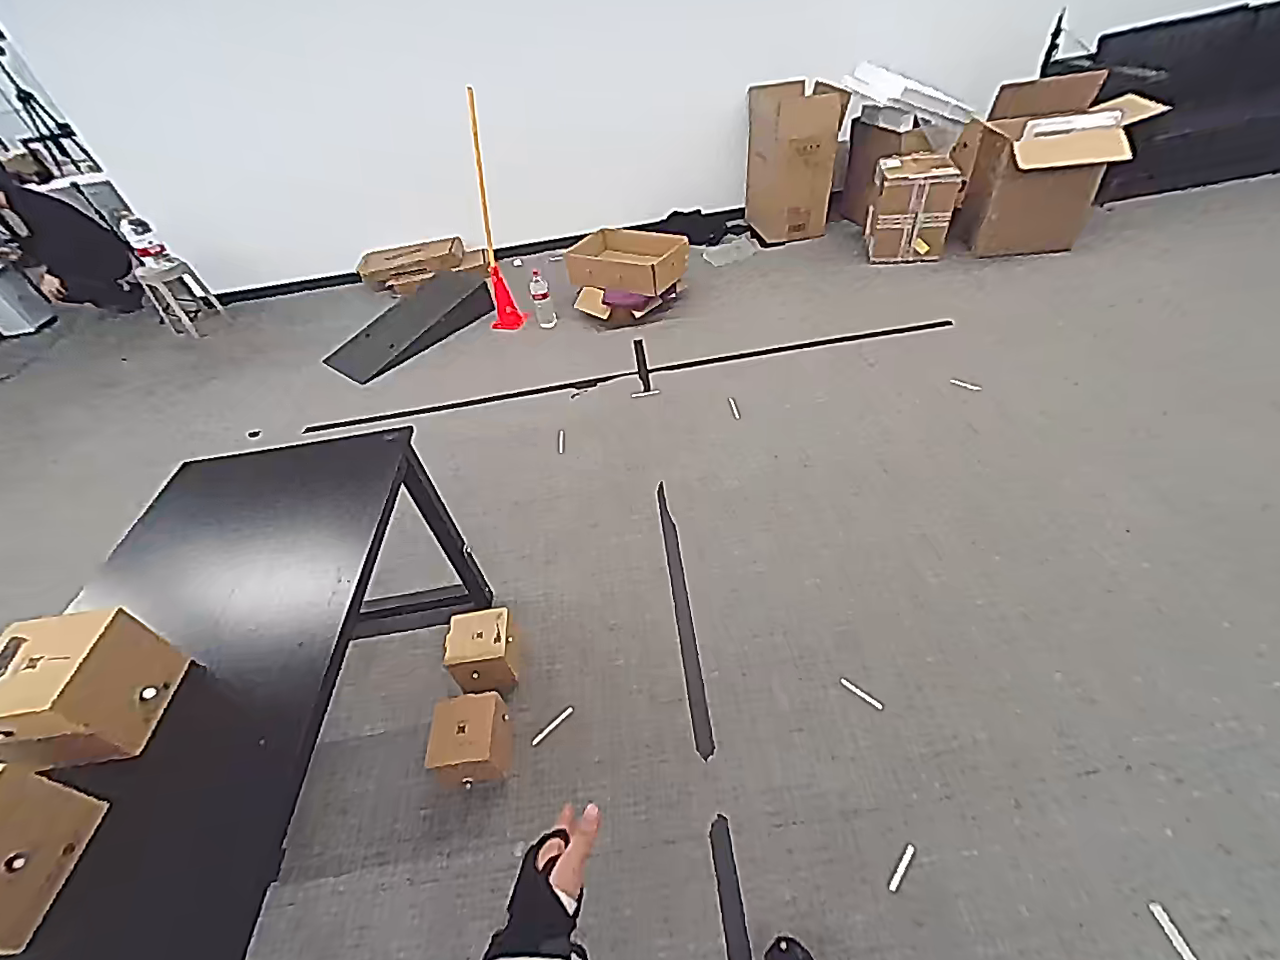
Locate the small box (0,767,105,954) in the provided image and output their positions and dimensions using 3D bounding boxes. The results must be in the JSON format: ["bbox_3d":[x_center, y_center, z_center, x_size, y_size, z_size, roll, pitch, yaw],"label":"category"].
[{"bbox_3d":[-0.855,0.480,0.675,0.179,0.176,0.168,-7,42,3],"label":"small box"}]

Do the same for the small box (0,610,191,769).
[{"bbox_3d":[-0.871,0.328,0.840,0.179,0.176,0.168,-9,43,0],"label":"small box"}]

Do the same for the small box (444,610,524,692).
[{"bbox_3d":[-0.463,0.518,1.631,0.179,0.176,0.168,-10,44,1],"label":"small box"}]

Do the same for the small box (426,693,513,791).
[{"bbox_3d":[-0.443,0.698,1.440,0.168,0.176,0.179,-10,44,1],"label":"small box"}]
